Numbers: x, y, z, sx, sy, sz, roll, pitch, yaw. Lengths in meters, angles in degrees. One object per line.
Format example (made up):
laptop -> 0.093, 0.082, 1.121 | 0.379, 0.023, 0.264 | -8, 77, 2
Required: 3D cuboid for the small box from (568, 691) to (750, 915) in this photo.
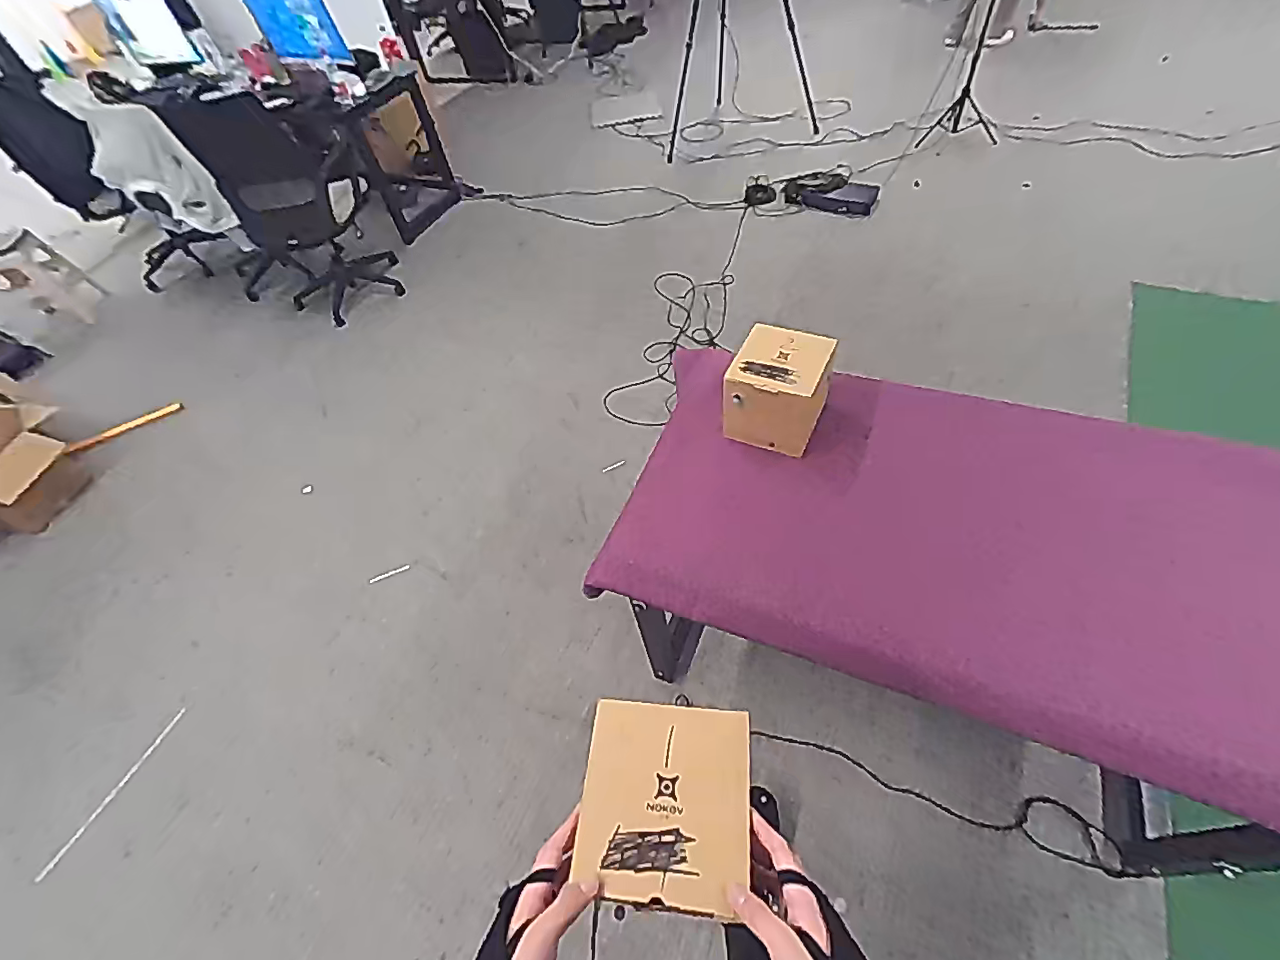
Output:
small box -> 0.033, 0.352, 0.592 | 0.168, 0.176, 0.179 | 2, 52, 9
